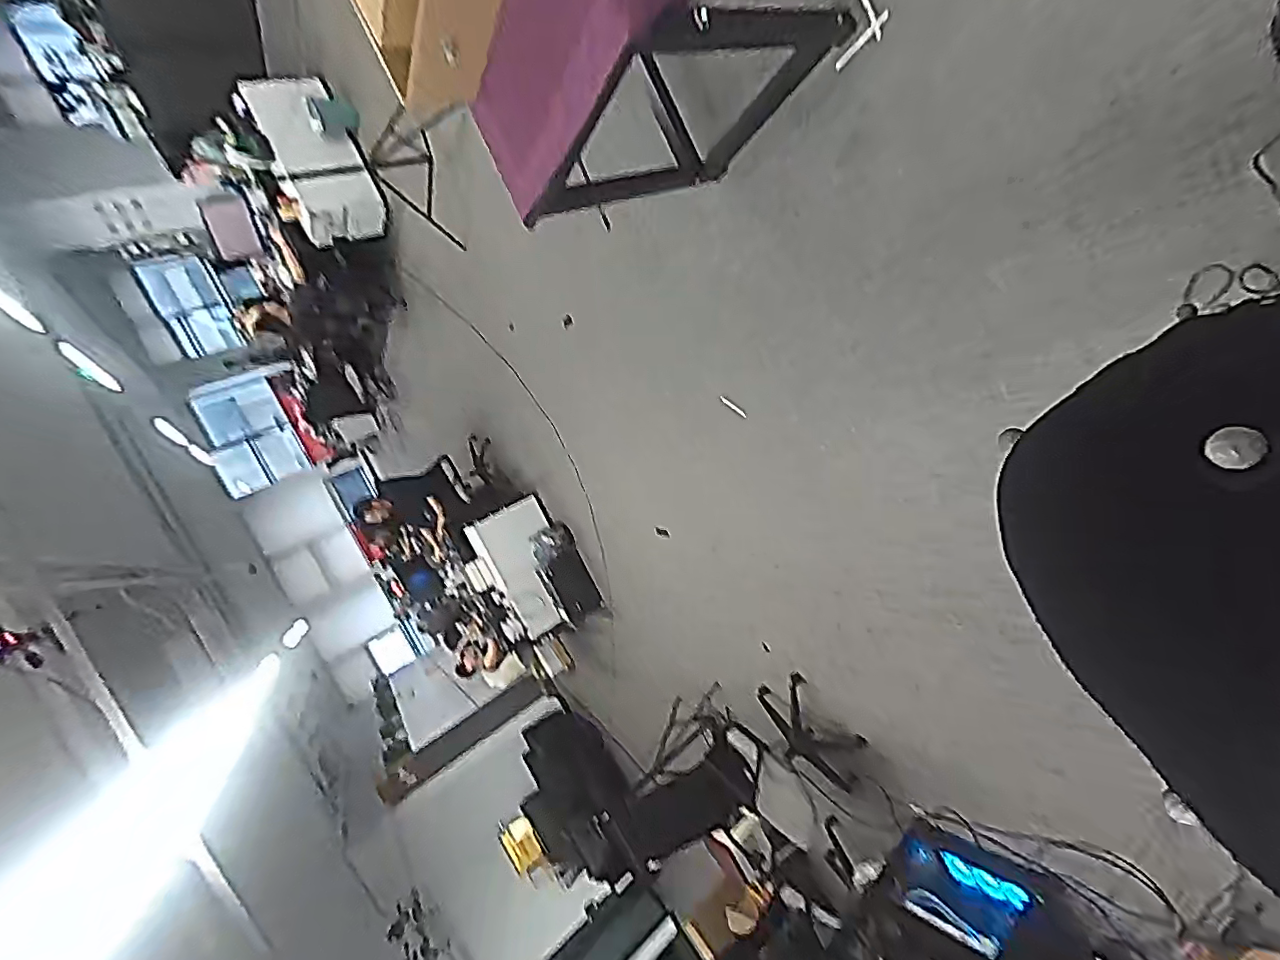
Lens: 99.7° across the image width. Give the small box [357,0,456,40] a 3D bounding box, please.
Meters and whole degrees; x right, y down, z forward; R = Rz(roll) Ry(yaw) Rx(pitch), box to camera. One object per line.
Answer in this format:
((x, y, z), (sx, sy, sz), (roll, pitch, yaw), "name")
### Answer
((-0.508, -1.079, 1.146), (0.168, 0.176, 0.179), (-24, 94, 60), "small box")
